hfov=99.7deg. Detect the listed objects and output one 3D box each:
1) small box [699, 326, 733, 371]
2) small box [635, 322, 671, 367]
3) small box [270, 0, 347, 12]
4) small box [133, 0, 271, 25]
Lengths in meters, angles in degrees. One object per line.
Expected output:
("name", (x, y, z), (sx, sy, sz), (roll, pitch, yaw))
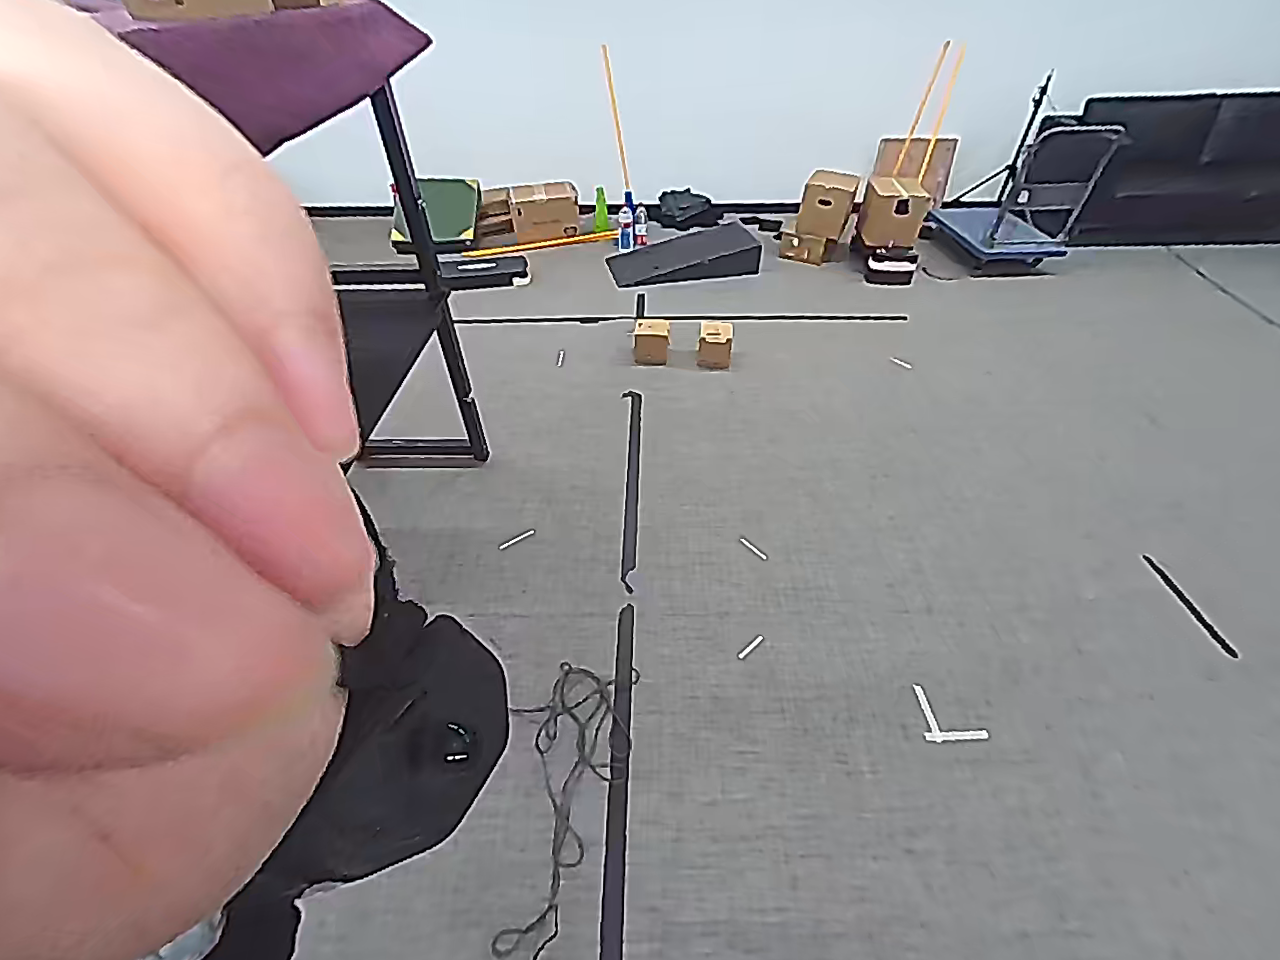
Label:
("small box", (0.399, -0.691, 2.841), (0.168, 0.176, 0.179), (5, 42, 5))
("small box", (0.069, -0.716, 2.866), (0.179, 0.176, 0.168), (5, 43, 4))
("small box", (-0.769, -1.118, 1.159), (0.179, 0.176, 0.168), (-4, 44, -3))
("small box", (-0.788, -0.908, 0.939), (0.168, 0.176, 0.179), (2, 44, 5))
